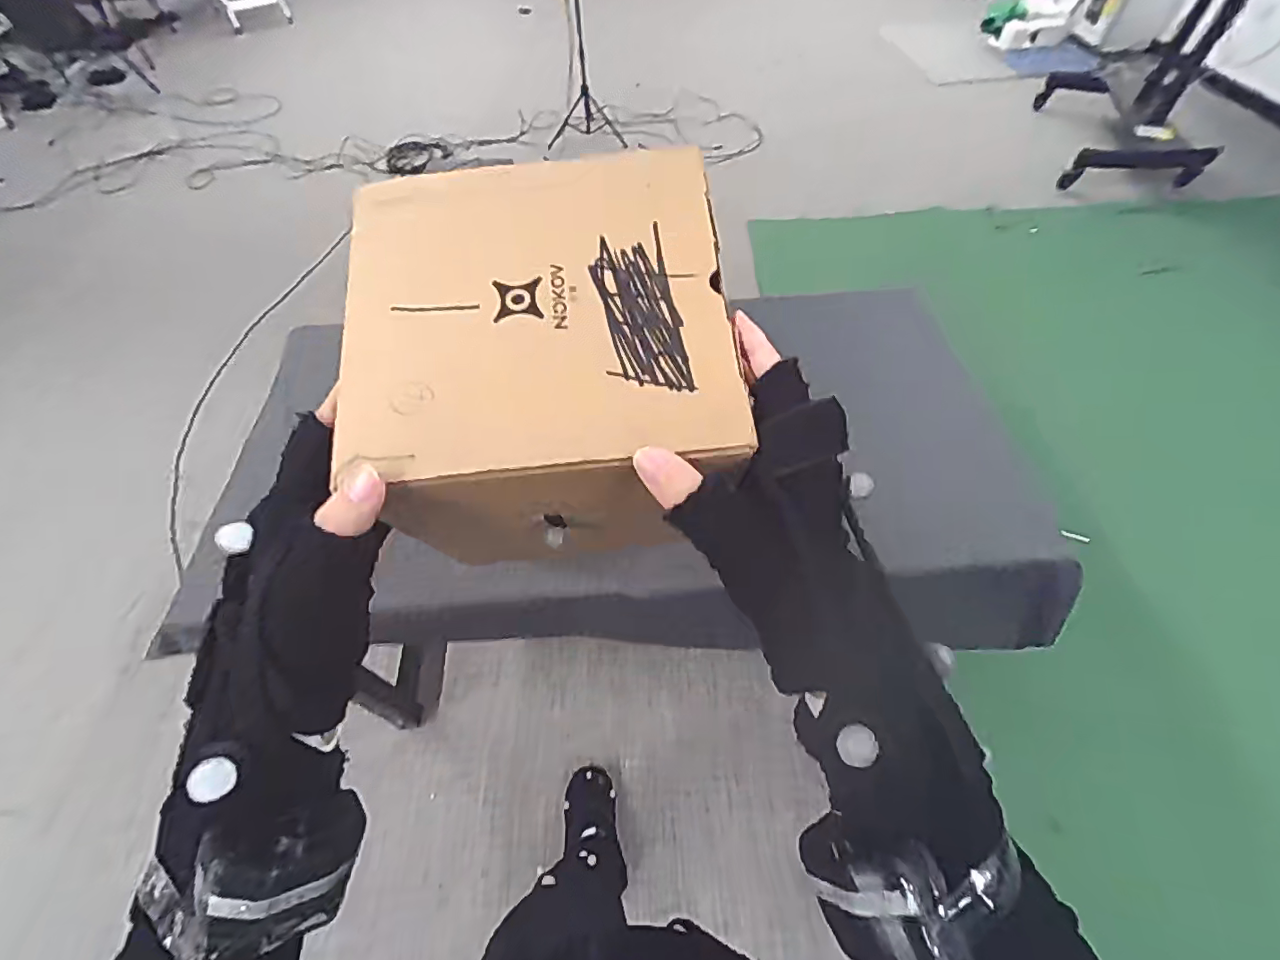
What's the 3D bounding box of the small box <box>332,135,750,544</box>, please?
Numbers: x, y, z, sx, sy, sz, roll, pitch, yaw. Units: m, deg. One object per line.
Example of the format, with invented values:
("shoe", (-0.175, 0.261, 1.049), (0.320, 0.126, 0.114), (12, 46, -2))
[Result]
("small box", (-0.046, -0.063, 0.322), (0.179, 0.176, 0.168), (-6, 71, 0))
